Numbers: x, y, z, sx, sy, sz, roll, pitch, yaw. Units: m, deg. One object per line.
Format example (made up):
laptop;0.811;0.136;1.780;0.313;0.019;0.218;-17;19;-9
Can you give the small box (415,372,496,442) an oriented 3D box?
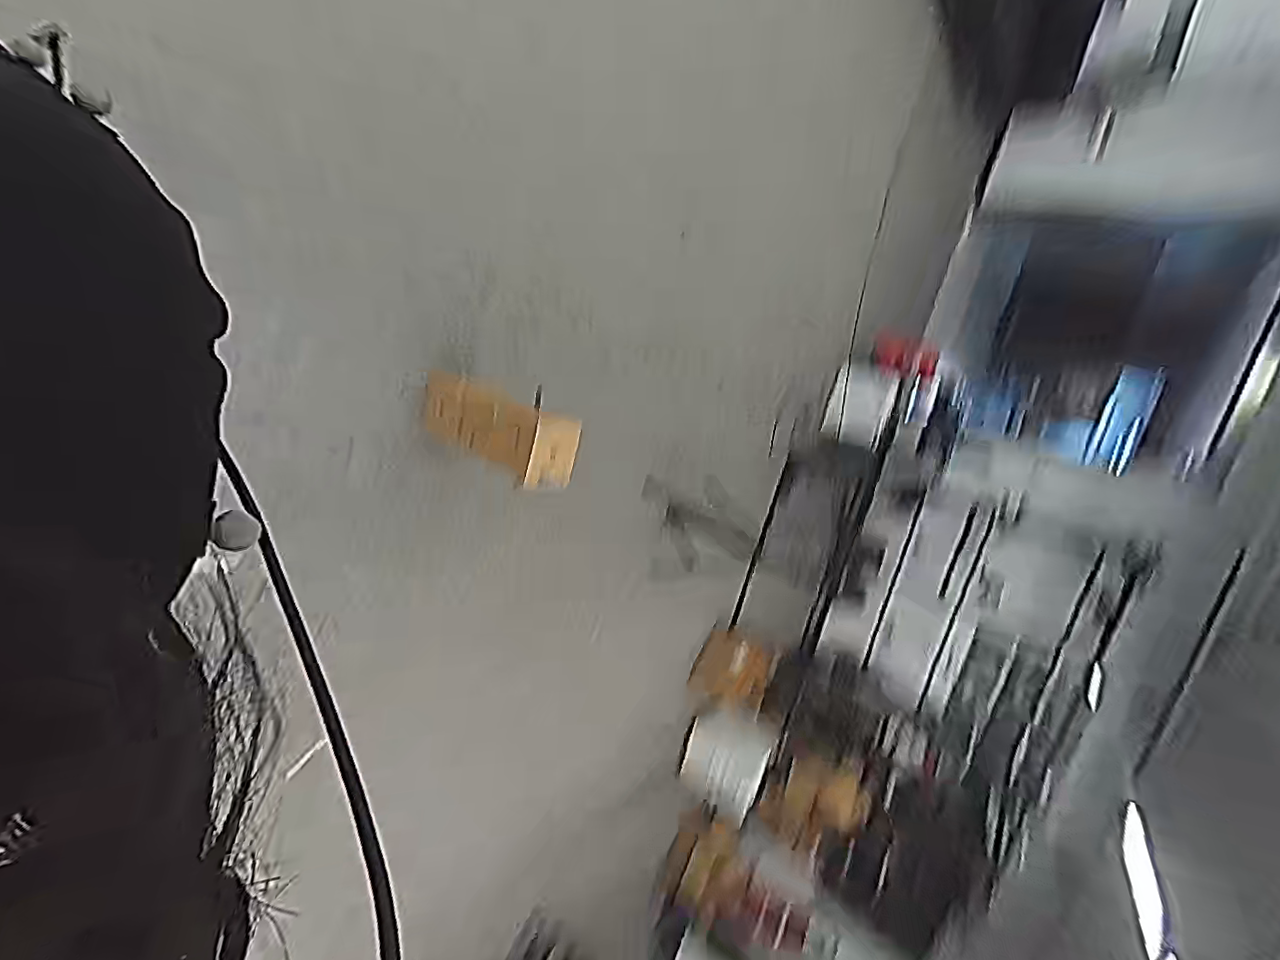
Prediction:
small box;-0.570;-0.223;1.658;0.168;0.176;0.179;-8;114;-52

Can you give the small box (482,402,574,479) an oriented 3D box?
small box;-0.313;-0.109;1.492;0.168;0.176;0.179;-1;110;-53

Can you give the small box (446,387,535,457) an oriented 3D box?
small box;-0.440;-0.168;1.578;0.179;0.176;0.168;-4;113;-54
